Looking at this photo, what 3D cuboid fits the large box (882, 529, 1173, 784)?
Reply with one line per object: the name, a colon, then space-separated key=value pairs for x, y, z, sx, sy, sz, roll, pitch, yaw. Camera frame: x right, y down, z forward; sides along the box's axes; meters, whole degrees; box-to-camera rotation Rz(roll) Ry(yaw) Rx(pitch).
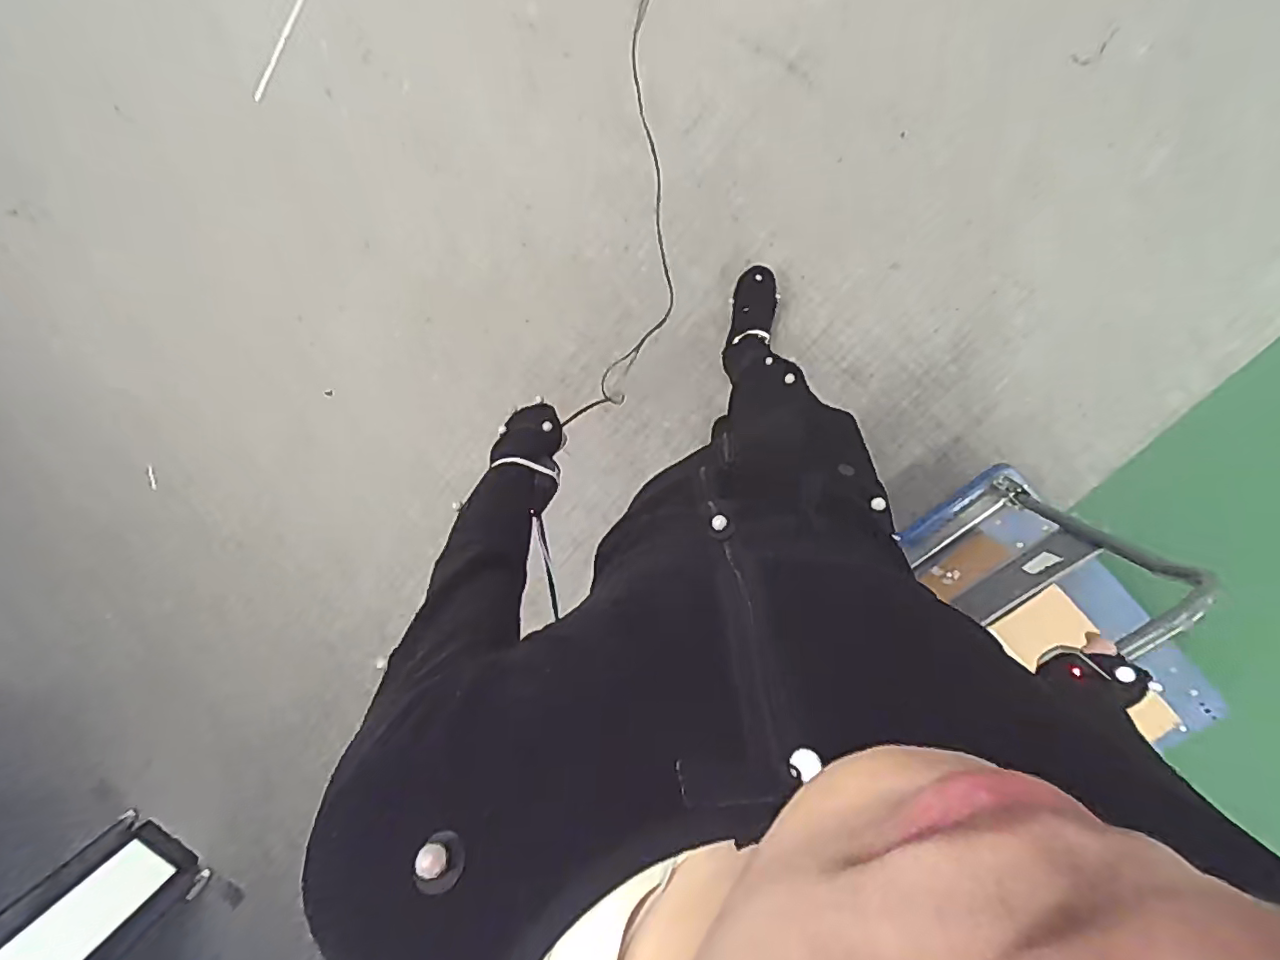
large box: x=0.858 y=0.389 z=1.264 sx=0.408 sy=0.320 sz=0.320 roll=46 pitch=107 yaw=-4
